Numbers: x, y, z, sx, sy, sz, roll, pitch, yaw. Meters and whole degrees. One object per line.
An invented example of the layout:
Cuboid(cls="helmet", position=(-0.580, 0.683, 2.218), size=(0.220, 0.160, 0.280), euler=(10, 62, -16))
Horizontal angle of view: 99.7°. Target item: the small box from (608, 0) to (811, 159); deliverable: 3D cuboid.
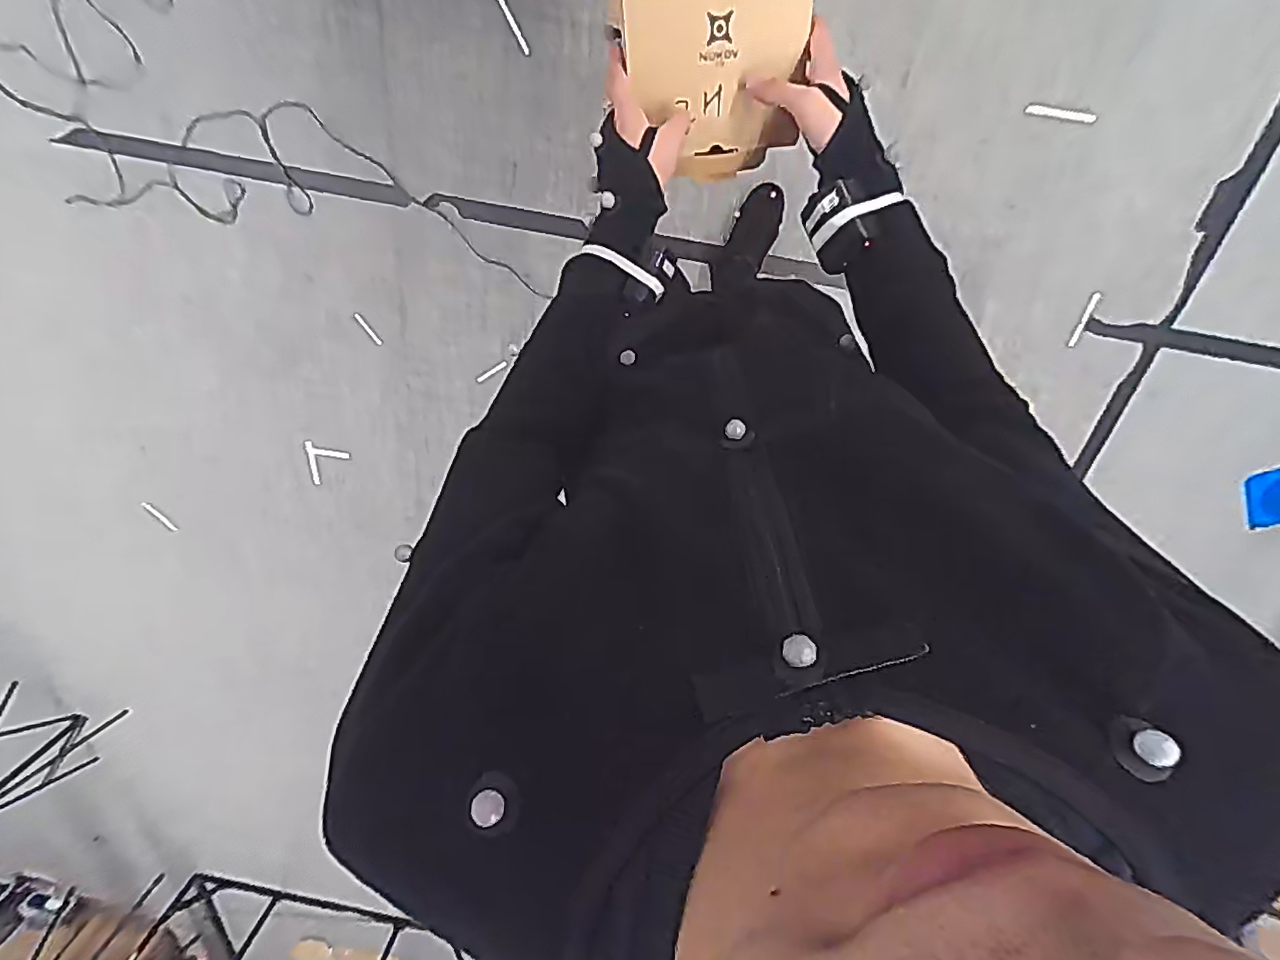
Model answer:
Cuboid(cls="small box", position=(0.058, -0.436, 0.534), size=(0.168, 0.176, 0.179), euler=(-6, 131, -2))
